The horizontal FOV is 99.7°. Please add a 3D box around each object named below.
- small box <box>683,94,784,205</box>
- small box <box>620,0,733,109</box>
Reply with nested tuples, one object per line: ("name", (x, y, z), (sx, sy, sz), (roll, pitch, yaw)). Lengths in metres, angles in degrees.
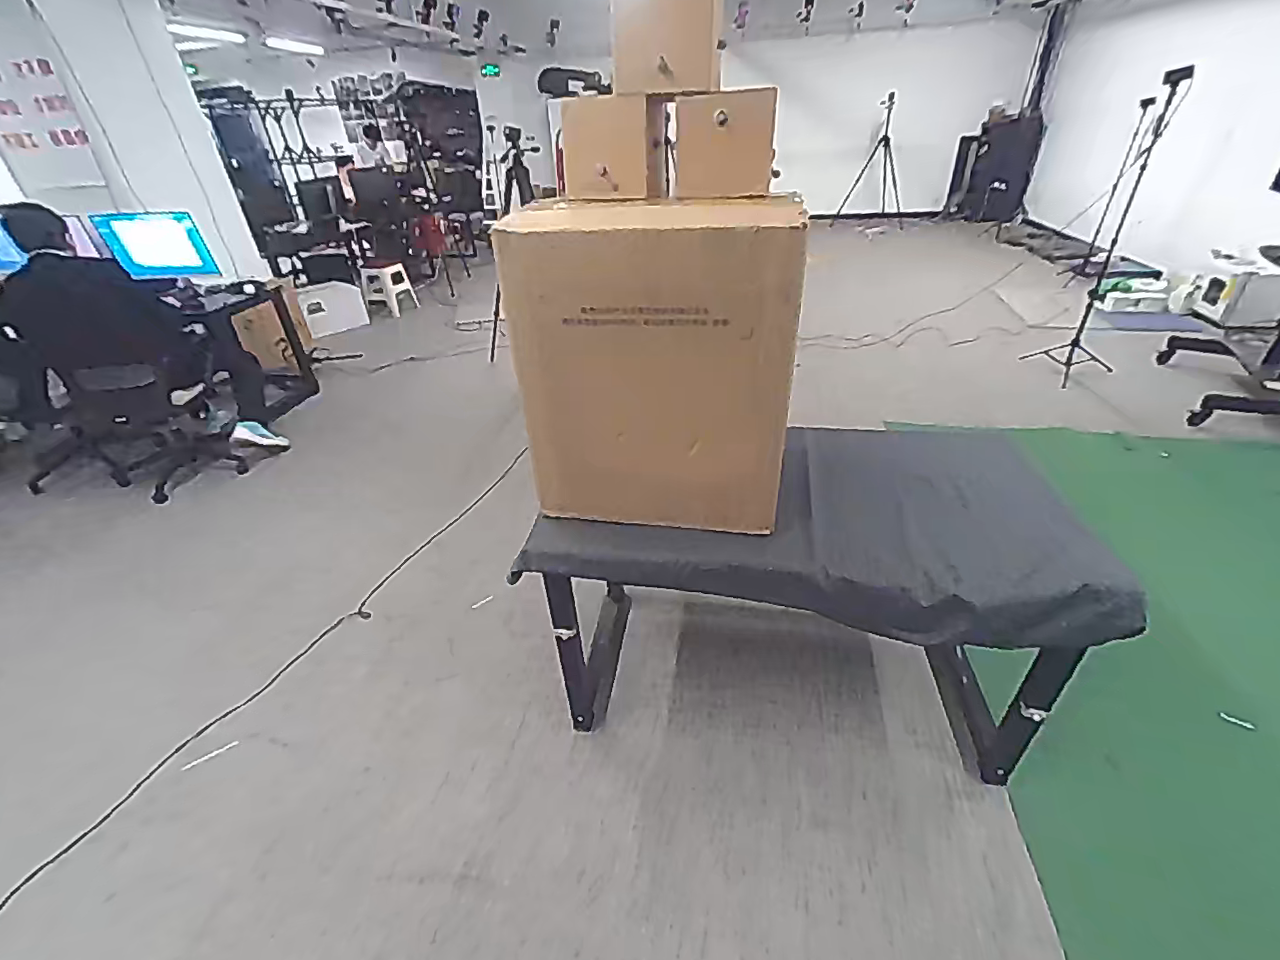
("small box", (0.179, -0.628, 1.040), (0.179, 0.176, 0.168), (5, 31, 11))
("small box", (0.069, -0.783, 0.985), (0.179, 0.176, 0.168), (6, 30, 12))
